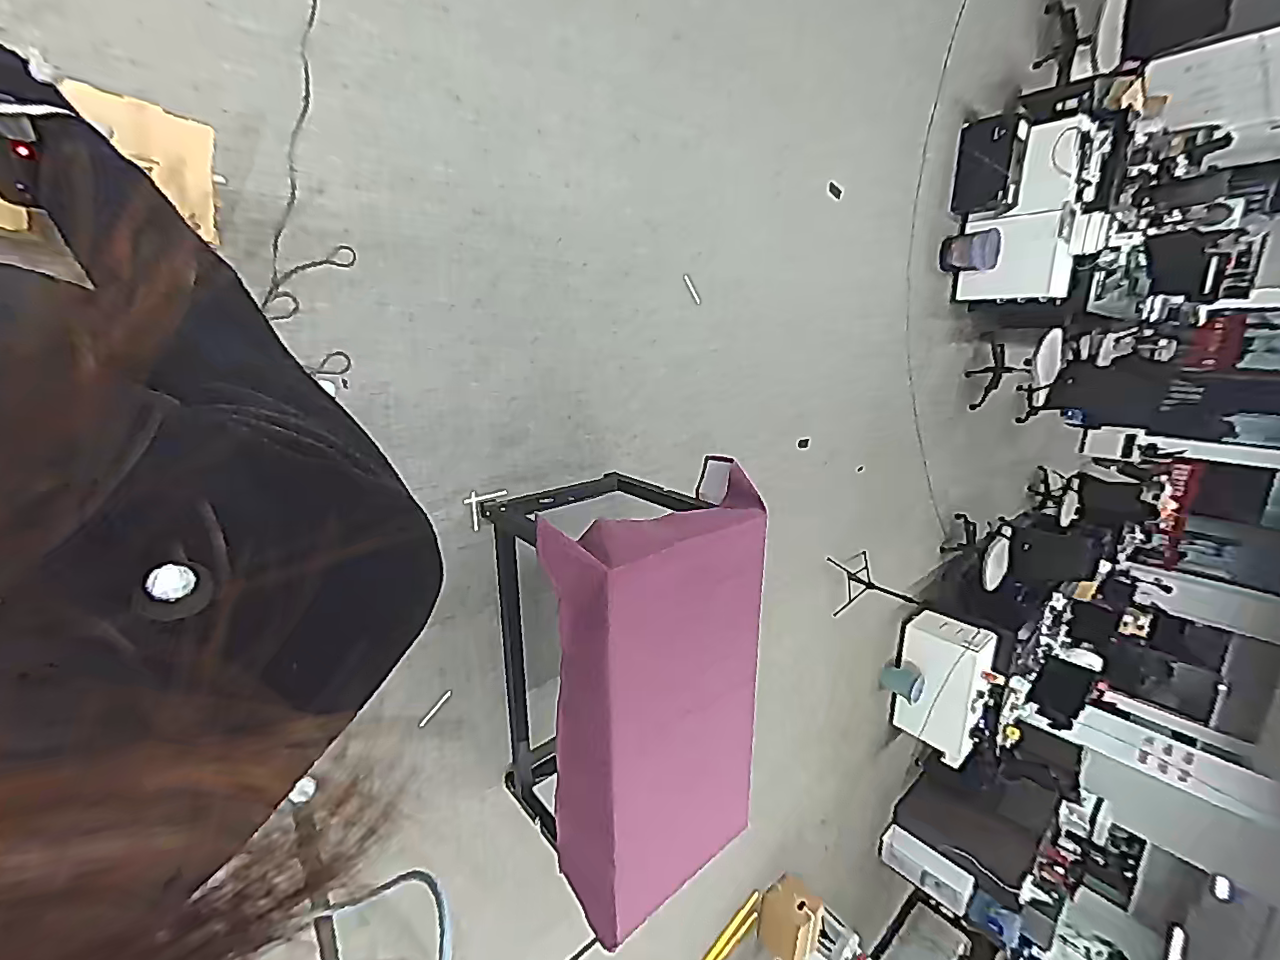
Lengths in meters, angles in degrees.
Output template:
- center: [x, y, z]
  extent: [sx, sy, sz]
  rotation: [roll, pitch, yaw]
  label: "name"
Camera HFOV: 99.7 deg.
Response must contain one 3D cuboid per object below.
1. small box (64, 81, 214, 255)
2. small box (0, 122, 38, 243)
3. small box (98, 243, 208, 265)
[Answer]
- center: [-0.791, -0.476, 0.861]
  extent: [0.168, 0.176, 0.179]
  rotation: [-1, 101, -41]
  label: "small box"
- center: [-1.186, -0.527, 0.937]
  extent: [0.168, 0.176, 0.179]
  rotation: [-6, 106, -40]
  label: "small box"
- center: [-1.002, -0.545, 1.100]
  extent: [0.168, 0.176, 0.179]
  rotation: [-11, 110, -38]
  label: "small box"
